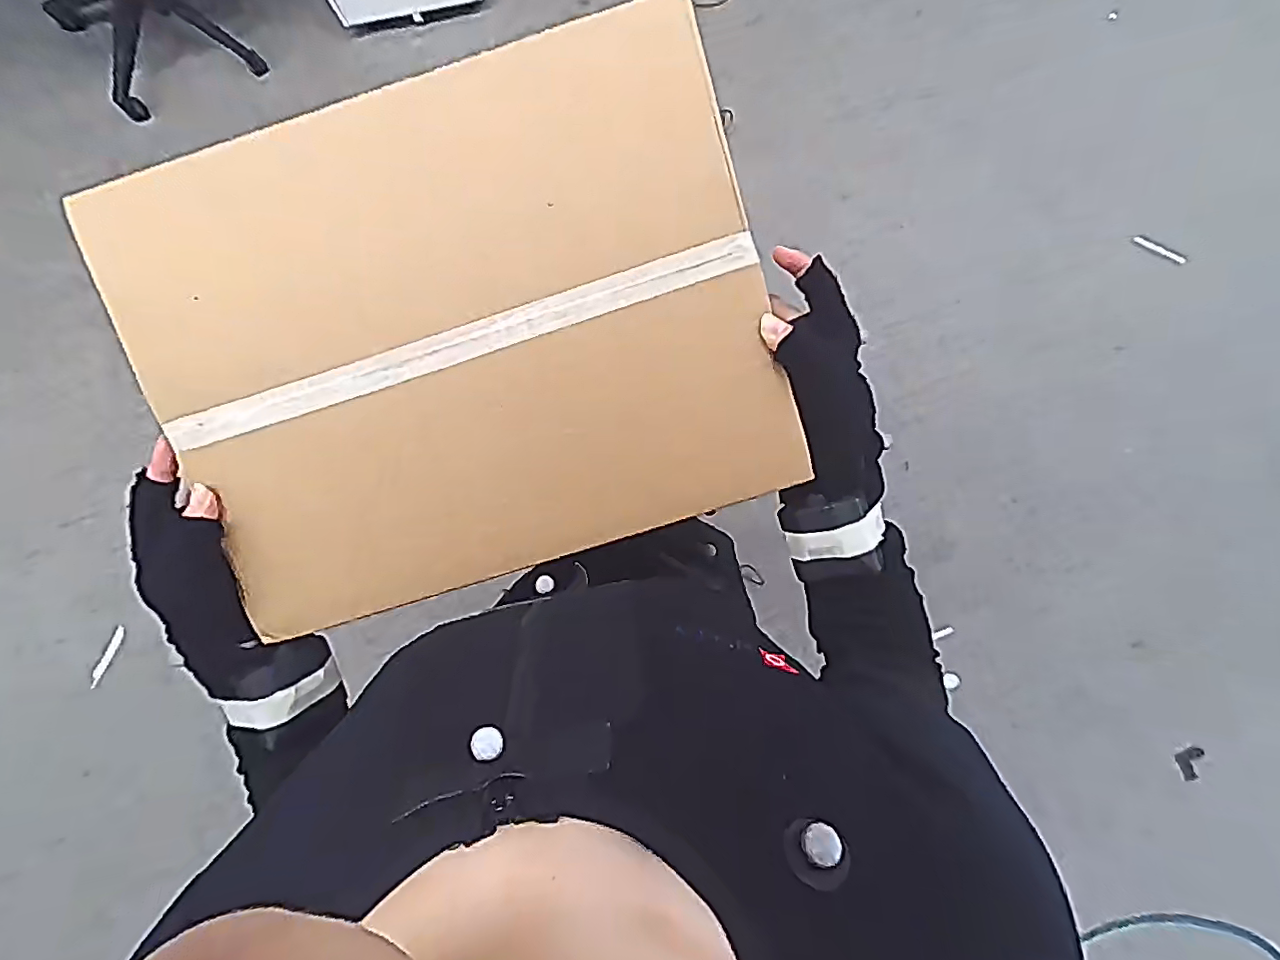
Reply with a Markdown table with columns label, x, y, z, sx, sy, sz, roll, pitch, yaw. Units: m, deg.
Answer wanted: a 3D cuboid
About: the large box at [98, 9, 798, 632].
| label | x | y | z | sx | sy | sz | roll | pitch | yaw |
| --- | --- | --- | --- | --- | --- | --- | --- | --- | --- |
| large box | -0.120 | -0.115 | 0.512 | 0.408 | 0.320 | 0.320 | -17 | 98 | 3 |
